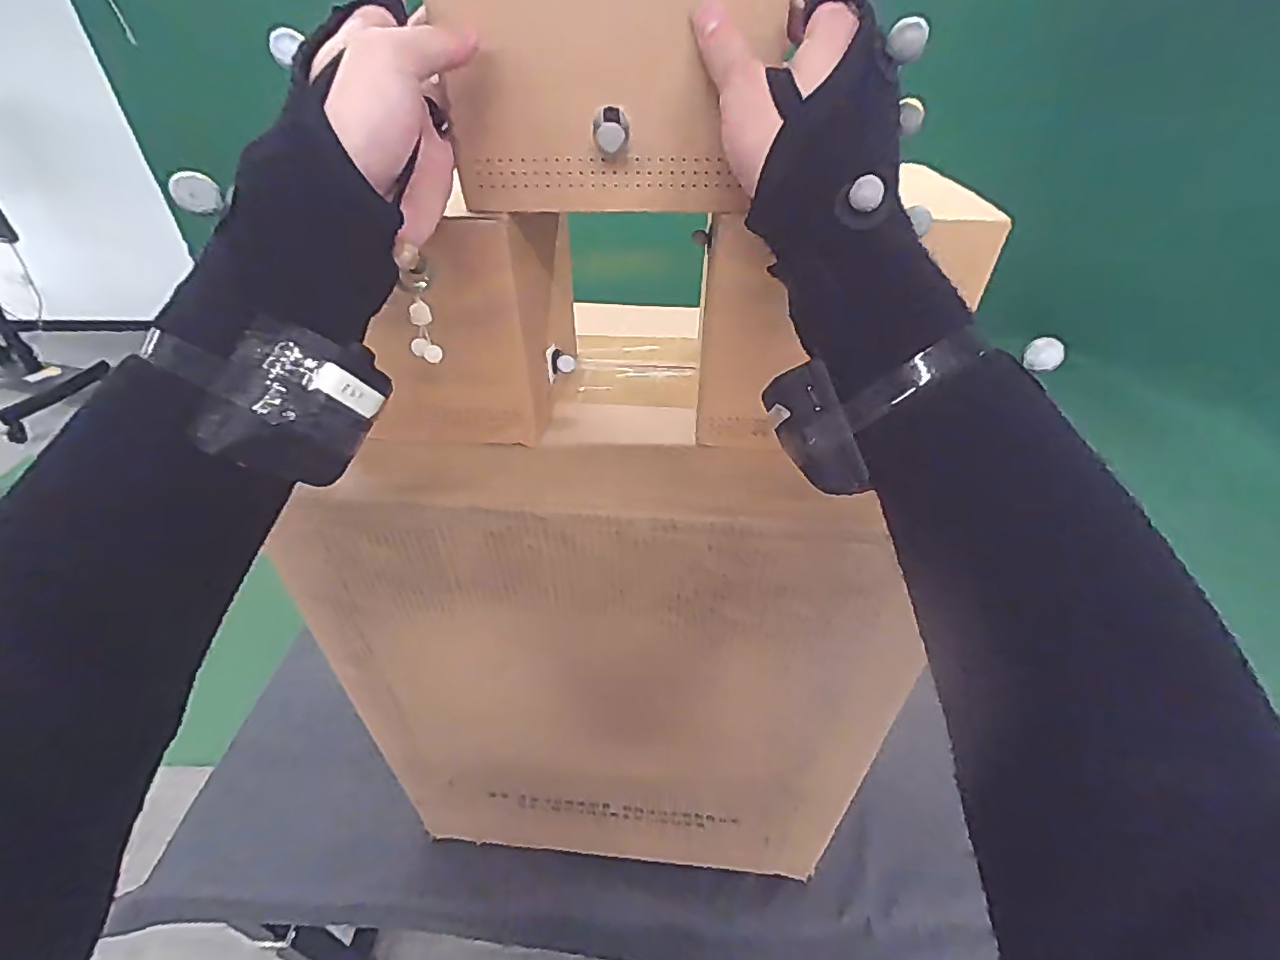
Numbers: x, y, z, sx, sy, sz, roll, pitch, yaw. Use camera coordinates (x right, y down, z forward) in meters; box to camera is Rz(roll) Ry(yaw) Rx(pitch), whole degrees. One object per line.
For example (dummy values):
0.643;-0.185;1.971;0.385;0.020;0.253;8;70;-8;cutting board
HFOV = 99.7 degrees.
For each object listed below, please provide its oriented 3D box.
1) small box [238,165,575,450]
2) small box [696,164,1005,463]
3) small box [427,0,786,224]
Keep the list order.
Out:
-0.154;-0.139;0.433;0.179;0.176;0.168;5;41;2;small box
0.132;-0.135;0.425;0.168;0.176;0.179;4;41;3;small box
-0.014;-0.263;0.325;0.179;0.176;0.168;1;41;1;small box
